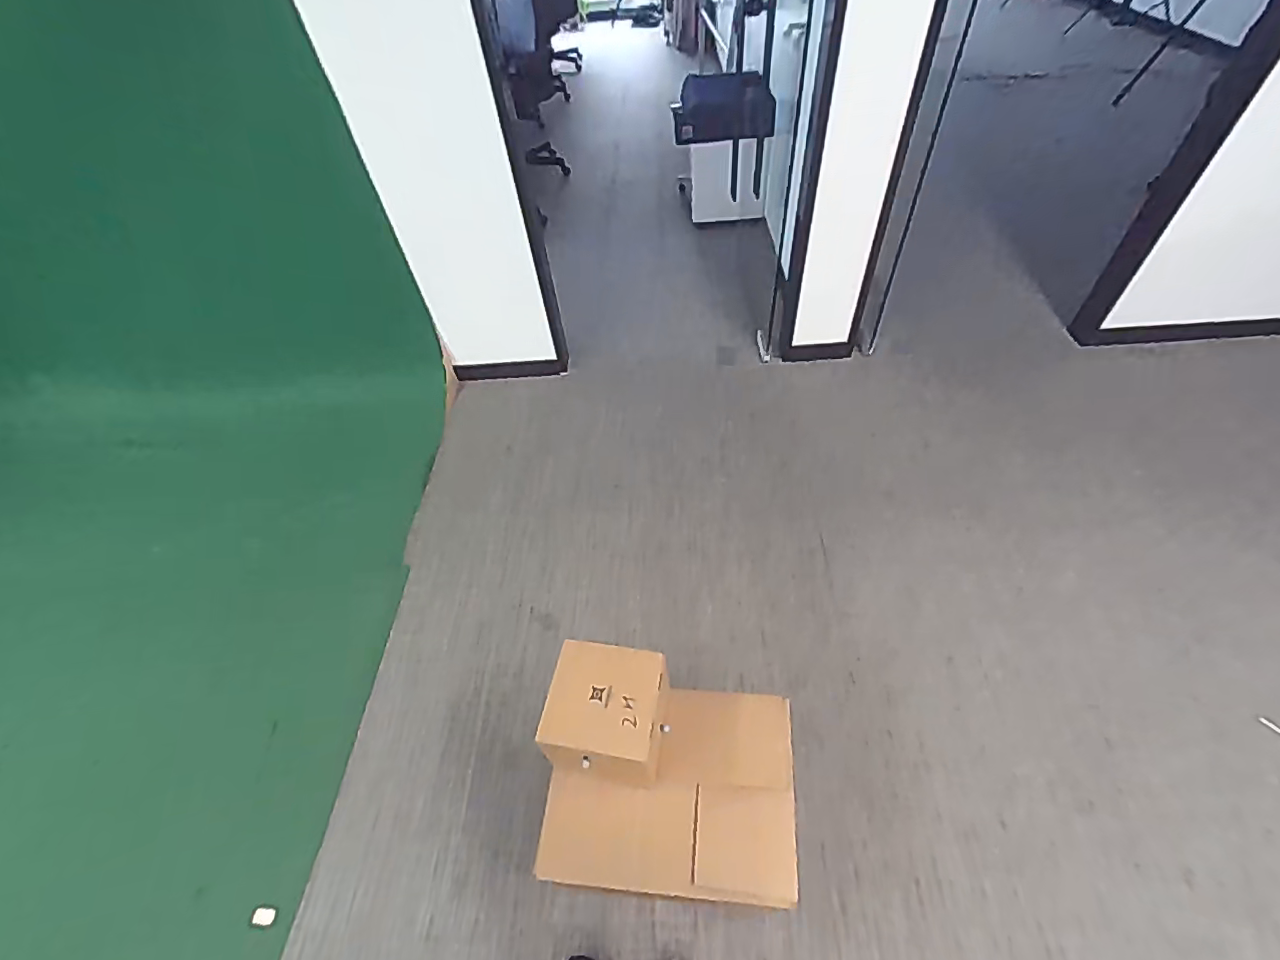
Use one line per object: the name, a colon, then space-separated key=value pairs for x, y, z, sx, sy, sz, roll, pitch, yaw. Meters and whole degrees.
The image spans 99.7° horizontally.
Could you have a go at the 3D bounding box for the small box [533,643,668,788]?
small box: x=-0.054 y=0.395 z=0.902 sx=0.179 sy=0.176 sz=0.168 roll=6 pitch=50 yaw=11
